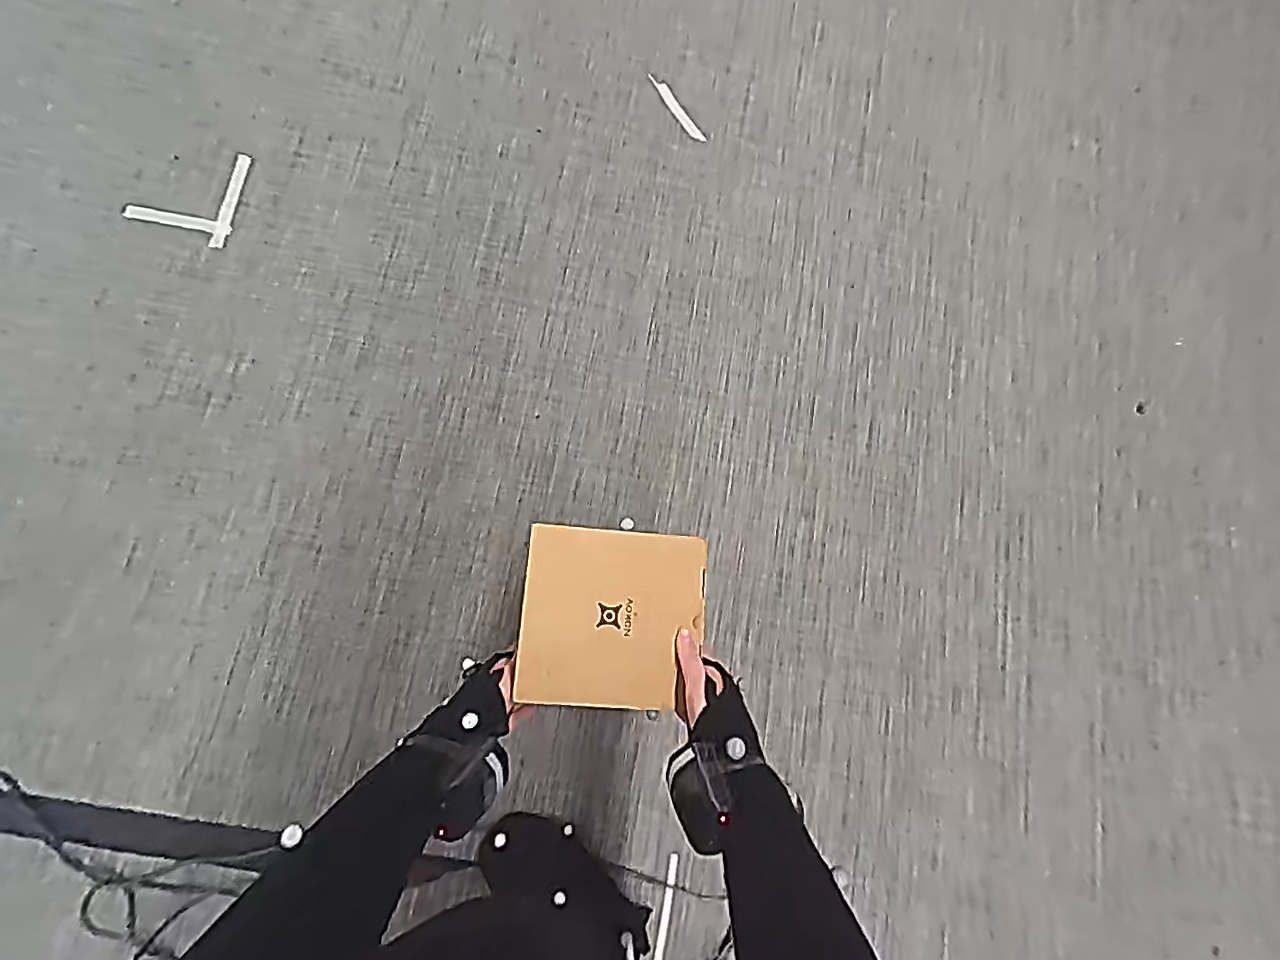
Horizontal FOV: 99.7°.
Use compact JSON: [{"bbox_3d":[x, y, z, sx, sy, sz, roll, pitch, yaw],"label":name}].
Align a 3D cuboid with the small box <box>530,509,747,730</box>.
[{"bbox_3d":[-0.011,0.148,0.551,0.168,0.176,0.179,10,59,-24],"label":"small box"}]
